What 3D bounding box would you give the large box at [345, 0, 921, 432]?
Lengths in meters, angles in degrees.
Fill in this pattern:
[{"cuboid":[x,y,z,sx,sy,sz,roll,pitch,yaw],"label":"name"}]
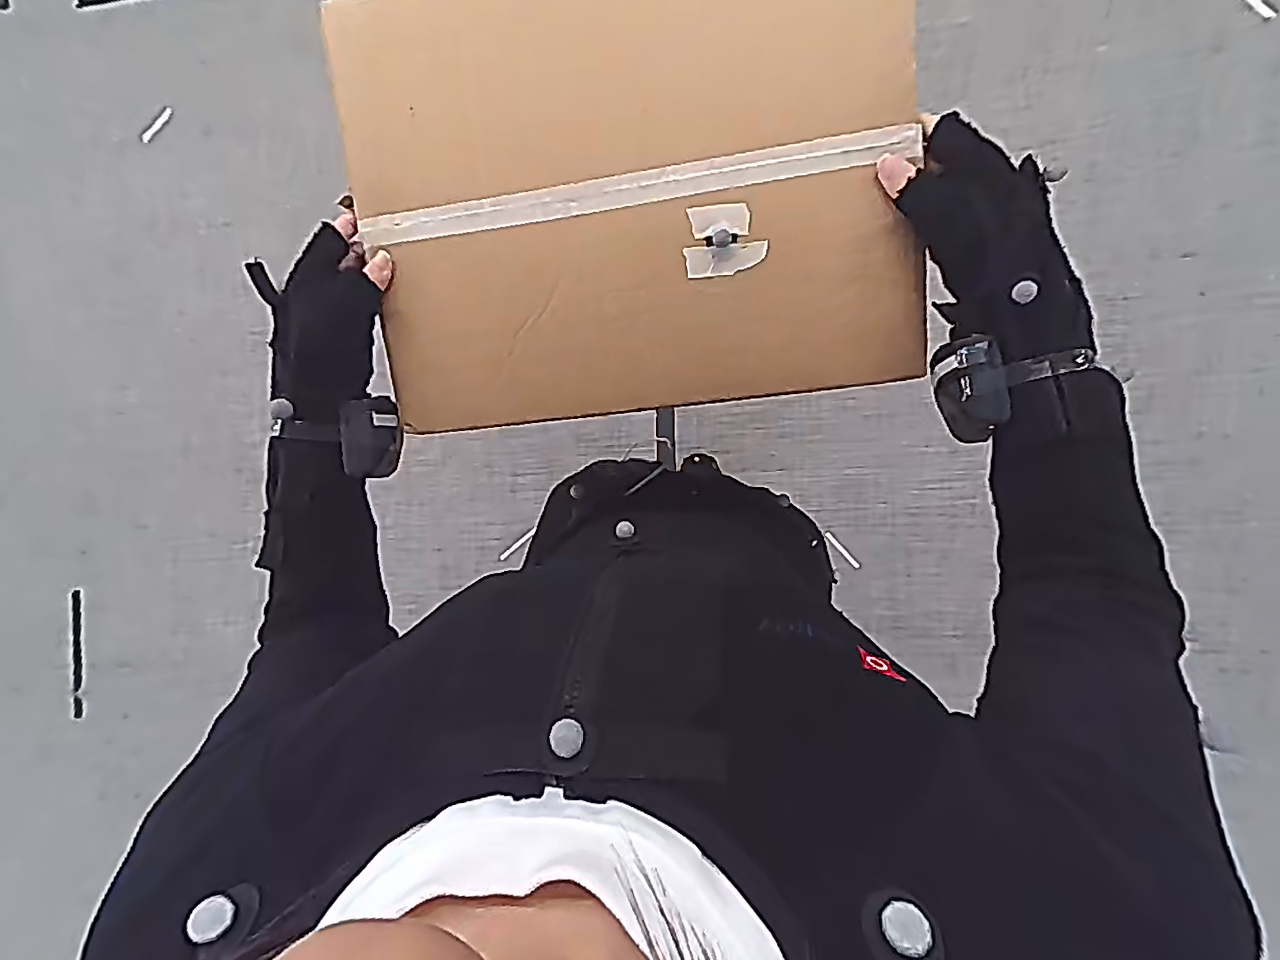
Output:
[{"cuboid":[0.007,-0.239,0.547,0.408,0.320,0.320,-6,101,7],"label":"large box"}]
